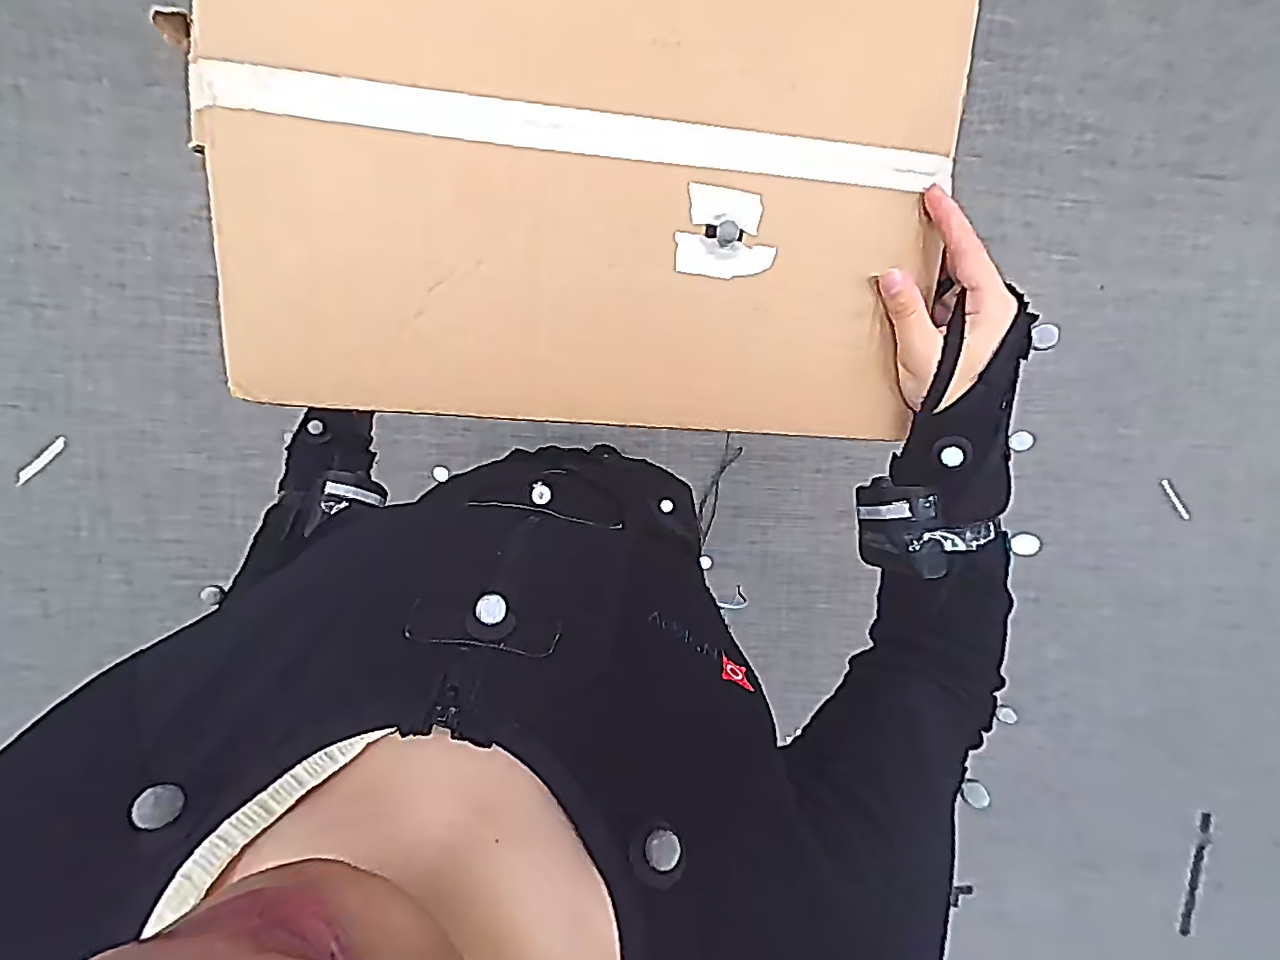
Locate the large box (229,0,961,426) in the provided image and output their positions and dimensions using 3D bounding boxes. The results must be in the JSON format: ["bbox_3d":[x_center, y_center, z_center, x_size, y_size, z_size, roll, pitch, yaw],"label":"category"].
[{"bbox_3d":[-0.036,-0.218,0.452,0.408,0.320,0.320,2,102,-9],"label":"large box"}]
